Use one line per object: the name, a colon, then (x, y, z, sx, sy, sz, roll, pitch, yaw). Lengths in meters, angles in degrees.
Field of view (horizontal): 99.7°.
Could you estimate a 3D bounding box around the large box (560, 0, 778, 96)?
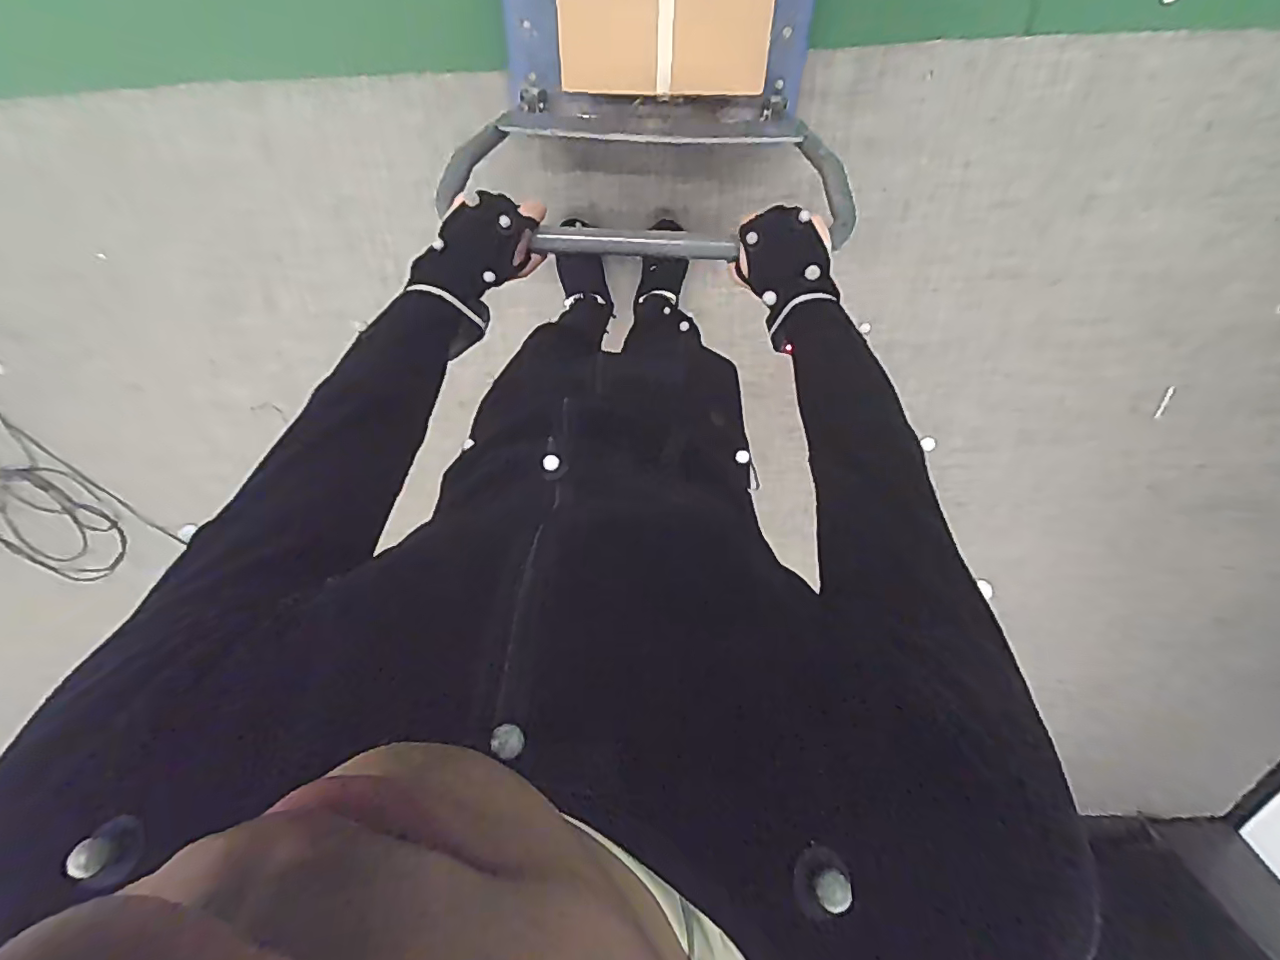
large box: (0.050, -0.844, 0.836, 0.320, 0.320, 0.408, 2, 128, 1)
